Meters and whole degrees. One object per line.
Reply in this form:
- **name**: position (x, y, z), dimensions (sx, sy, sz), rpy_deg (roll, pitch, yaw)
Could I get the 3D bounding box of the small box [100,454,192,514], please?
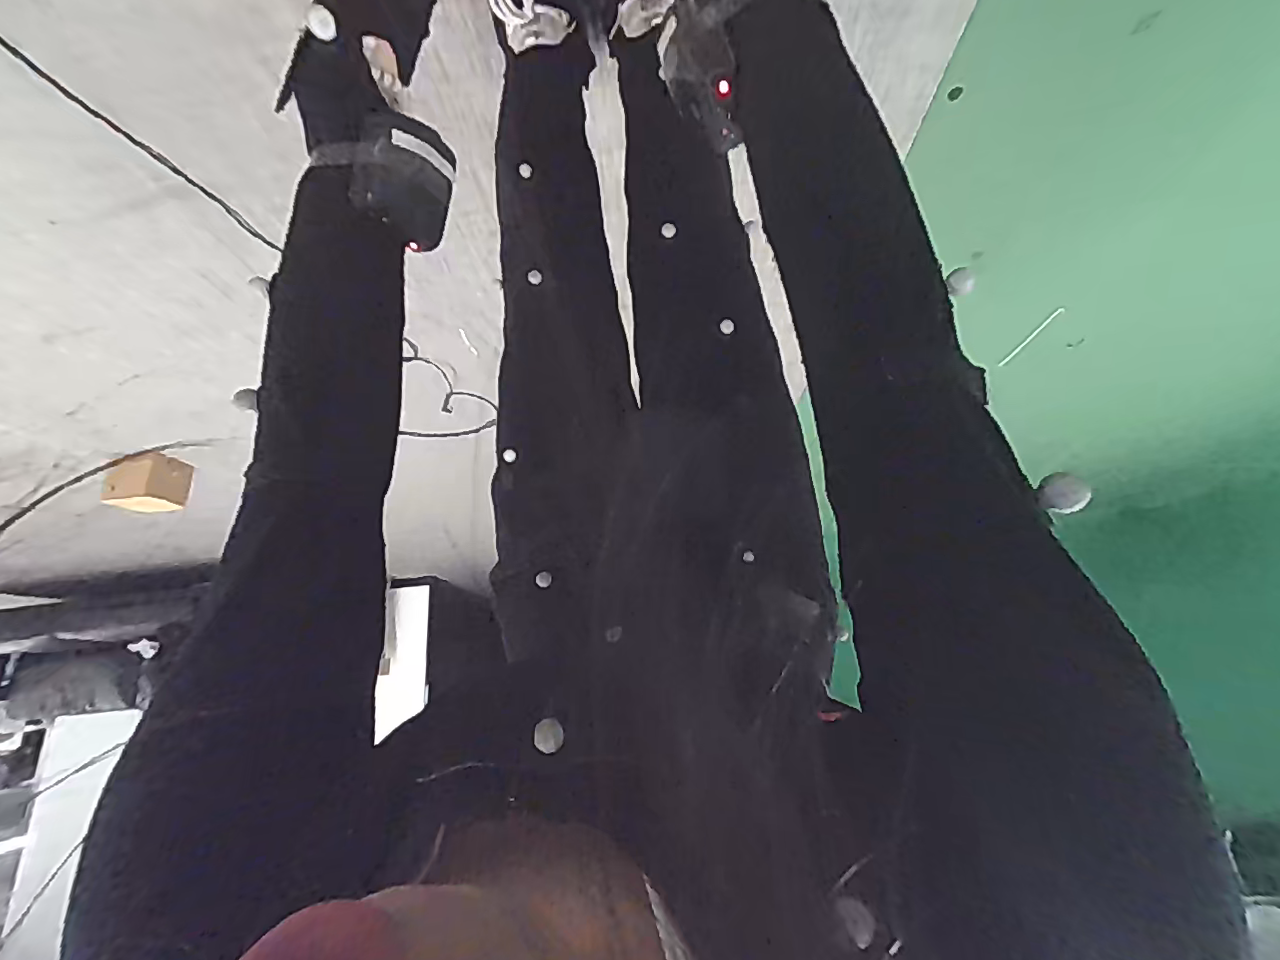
- **small box**: position (-1.784, 0.014, 1.965), dimensions (0.179, 0.176, 0.168), rpy_deg (-7, 162, 4)
